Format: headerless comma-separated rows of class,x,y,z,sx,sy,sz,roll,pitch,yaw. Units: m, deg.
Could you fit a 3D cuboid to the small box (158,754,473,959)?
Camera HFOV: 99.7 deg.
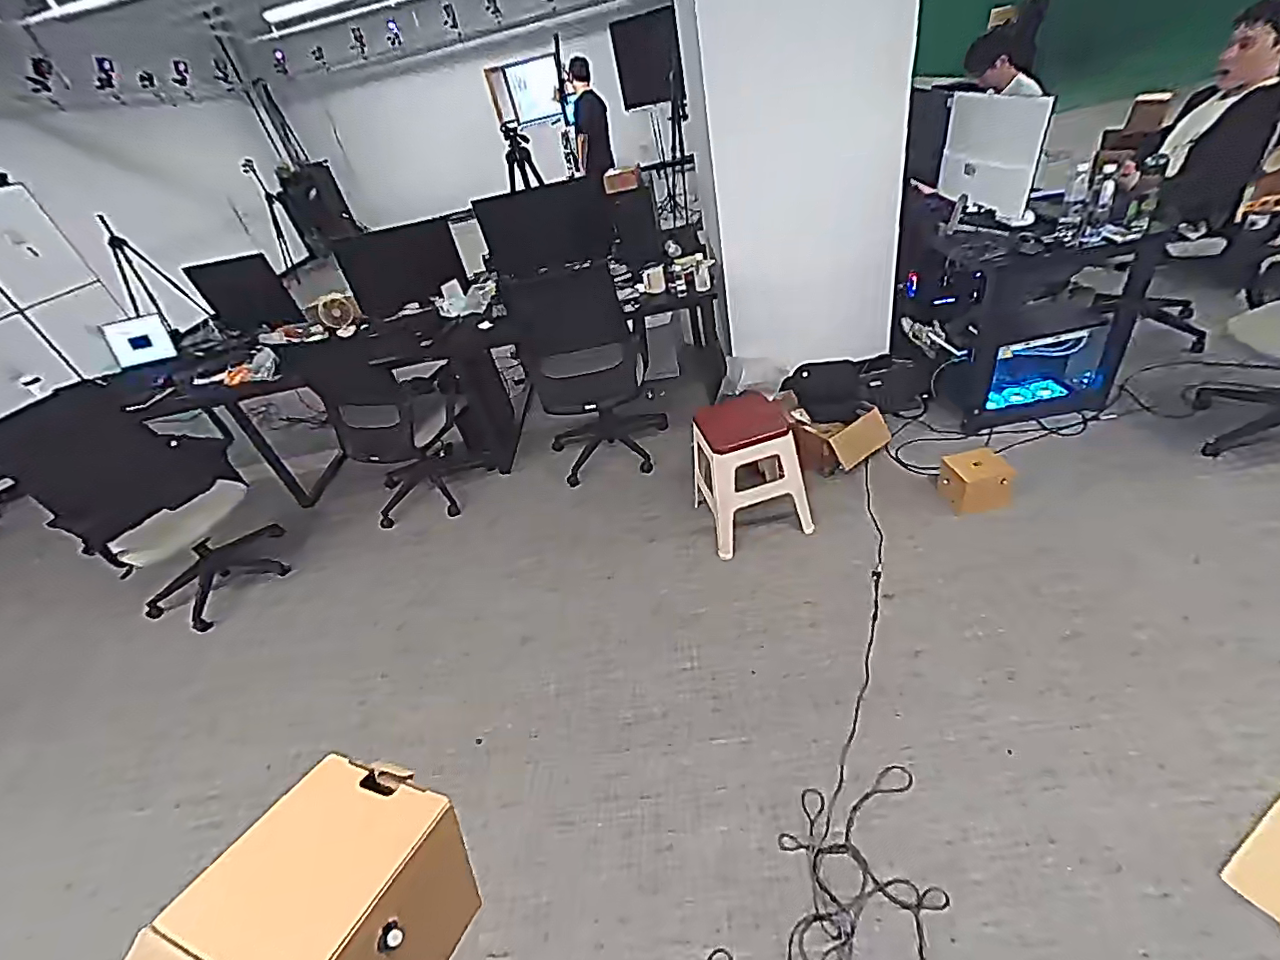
small box,-0.281,0.408,0.511,0.168,0.176,0.179,6,24,21
